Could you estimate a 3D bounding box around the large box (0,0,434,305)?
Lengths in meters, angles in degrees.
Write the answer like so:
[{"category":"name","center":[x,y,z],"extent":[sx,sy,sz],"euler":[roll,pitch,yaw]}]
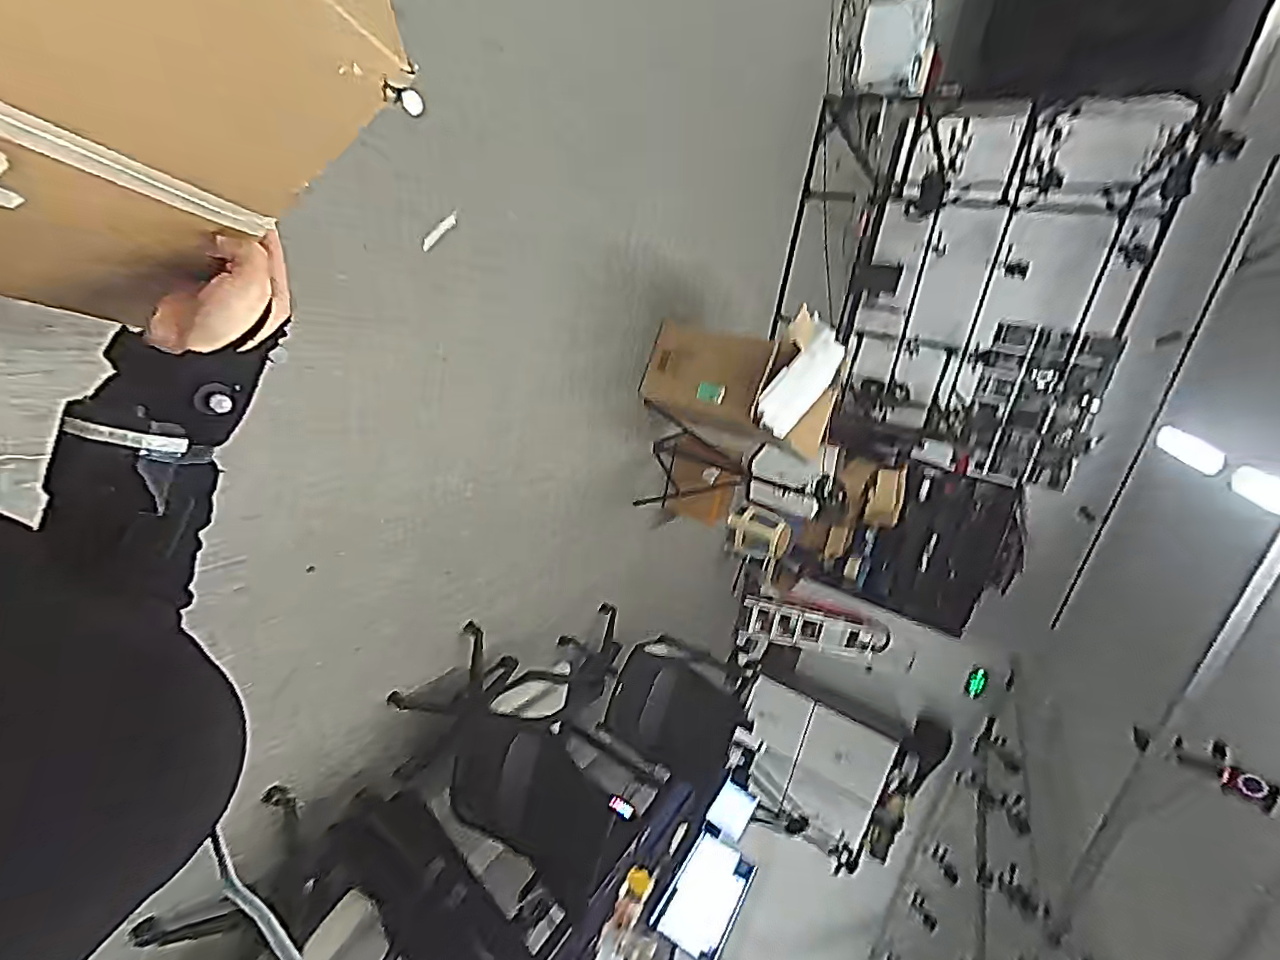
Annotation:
[{"category":"large box","center":[-0.379,-0.335,0.219],"extent":[0.408,0.320,0.320],"euler":[2,68,-63]}]
